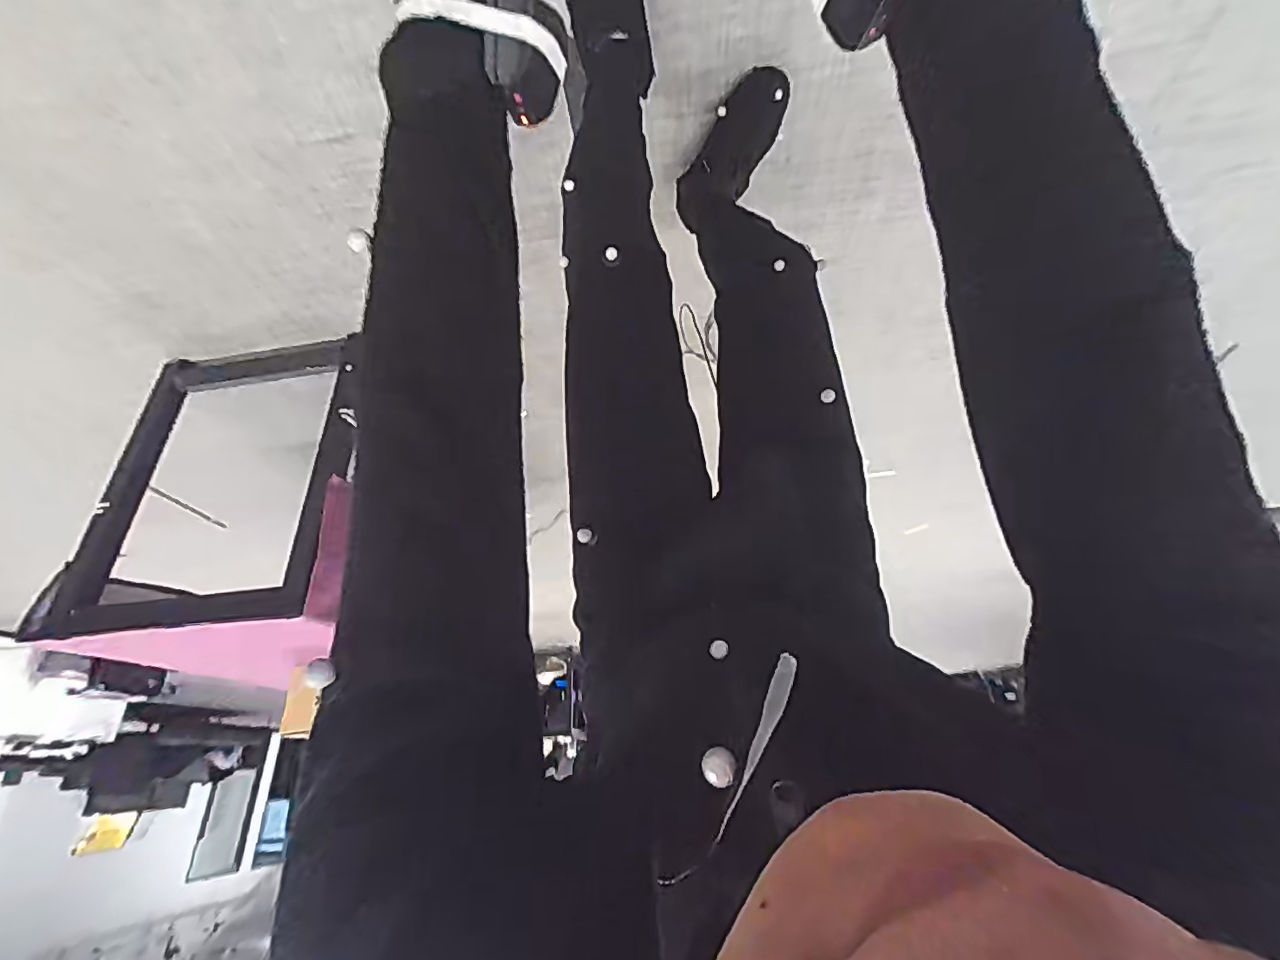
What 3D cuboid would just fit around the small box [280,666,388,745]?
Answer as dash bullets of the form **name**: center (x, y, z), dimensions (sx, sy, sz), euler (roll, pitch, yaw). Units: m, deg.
- **small box**: center (-0.806, 0.605, 1.446), dimensions (0.179, 0.176, 0.168), euler (-10, 151, 9)
